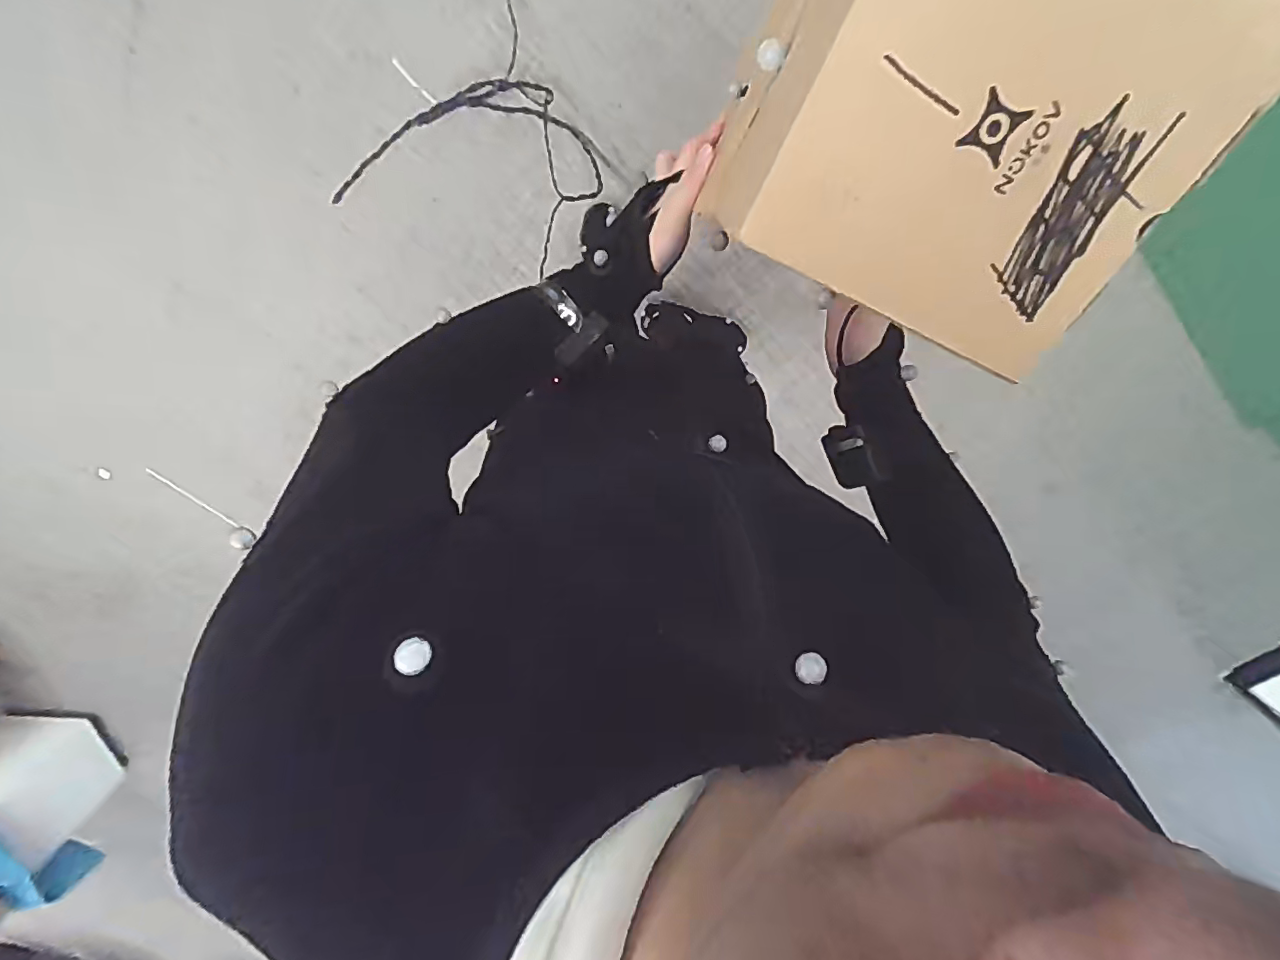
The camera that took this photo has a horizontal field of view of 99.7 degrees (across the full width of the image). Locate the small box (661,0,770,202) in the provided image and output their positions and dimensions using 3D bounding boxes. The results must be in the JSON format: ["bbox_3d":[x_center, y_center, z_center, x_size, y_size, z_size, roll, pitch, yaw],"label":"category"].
[{"bbox_3d":[0.133,-0.355,0.560,0.168,0.176,0.179,23,119,-13],"label":"small box"}]

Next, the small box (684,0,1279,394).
[{"bbox_3d":[0.137,-0.178,0.282,0.179,0.176,0.168,23,119,-12],"label":"small box"}]
